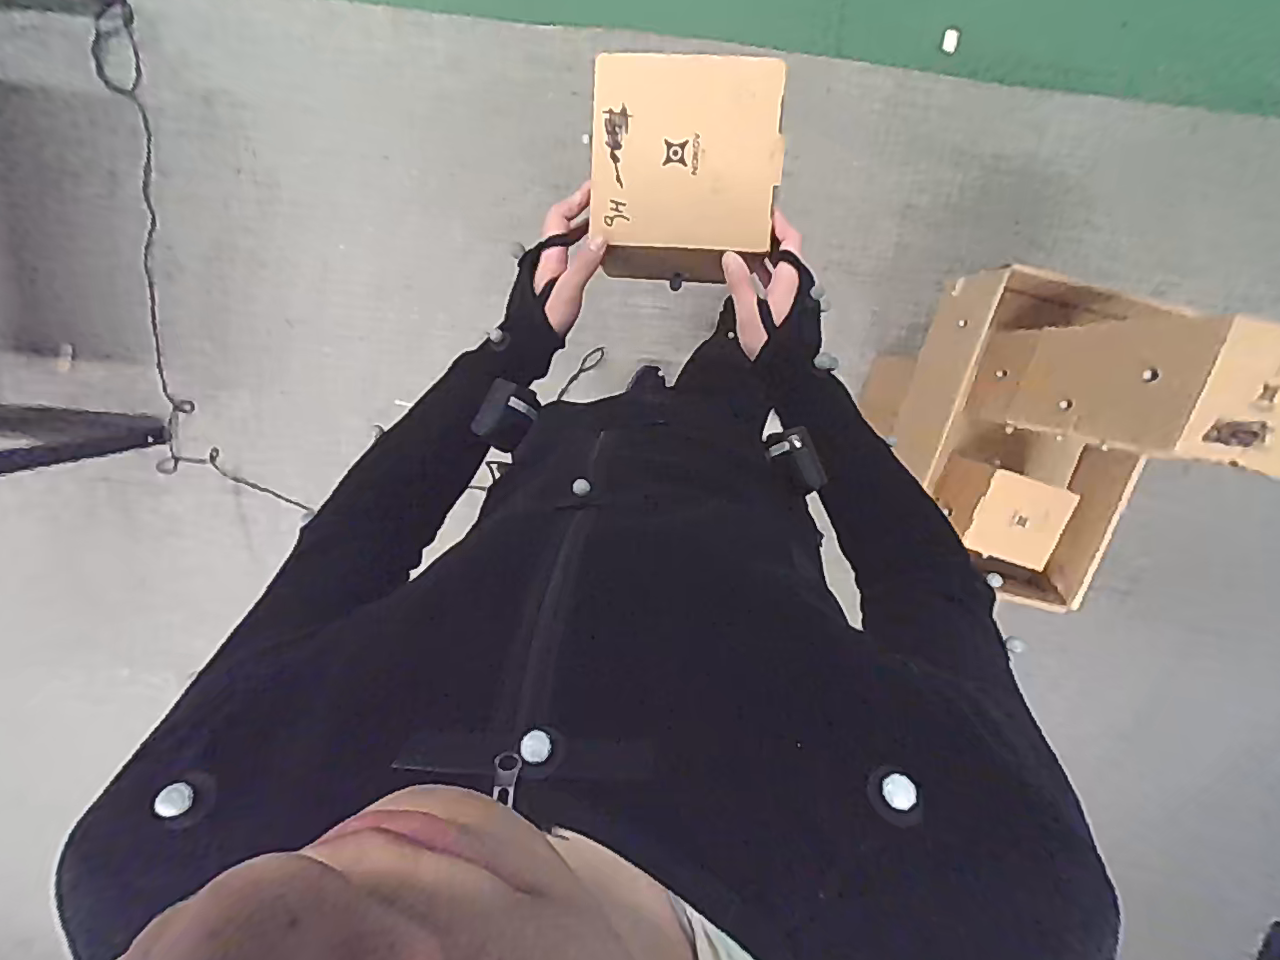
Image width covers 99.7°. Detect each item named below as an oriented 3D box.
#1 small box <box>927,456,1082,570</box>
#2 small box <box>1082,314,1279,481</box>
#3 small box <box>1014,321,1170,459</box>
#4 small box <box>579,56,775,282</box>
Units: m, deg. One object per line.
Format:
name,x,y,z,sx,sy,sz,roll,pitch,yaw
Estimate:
small box,0.737,0.058,1.119,0.179,0.176,0.168,18,104,-2
small box,0.765,-0.116,0.739,0.168,0.176,0.179,13,104,-1
small box,0.775,-0.154,0.899,0.168,0.176,0.179,15,105,-1
small box,0.036,-0.317,0.586,0.179,0.176,0.168,4,100,2
